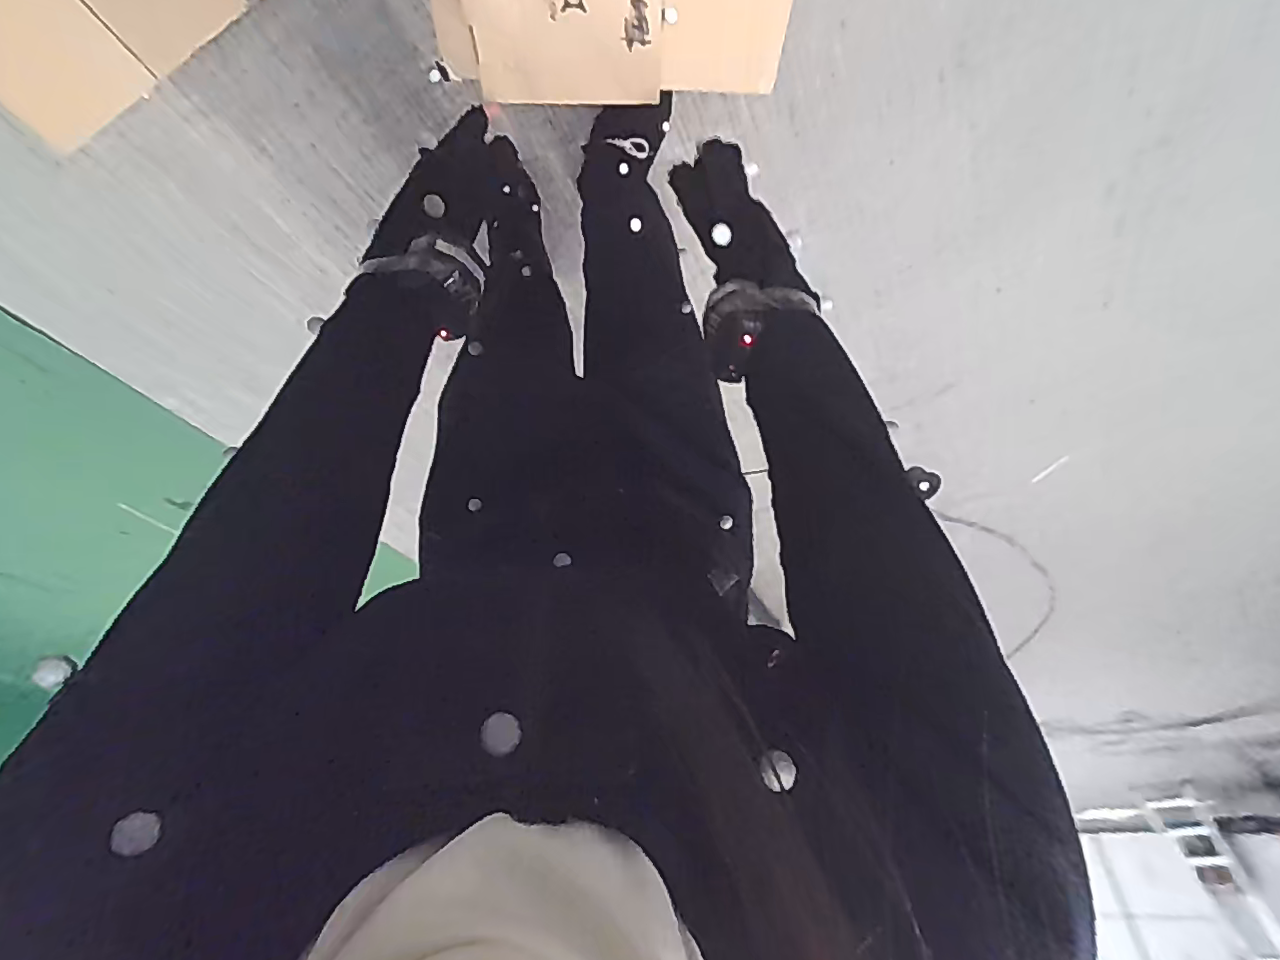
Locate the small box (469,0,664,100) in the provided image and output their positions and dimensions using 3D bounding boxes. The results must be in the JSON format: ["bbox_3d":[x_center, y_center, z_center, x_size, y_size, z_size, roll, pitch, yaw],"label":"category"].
[{"bbox_3d":[-0.065,-0.491,0.526,0.179,0.176,0.168,-1,140,2],"label":"small box"}]

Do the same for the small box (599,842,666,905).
[{"bbox_3d":[-0.025,1.347,1.854,0.168,0.176,0.179,-20,138,23],"label":"small box"}]
